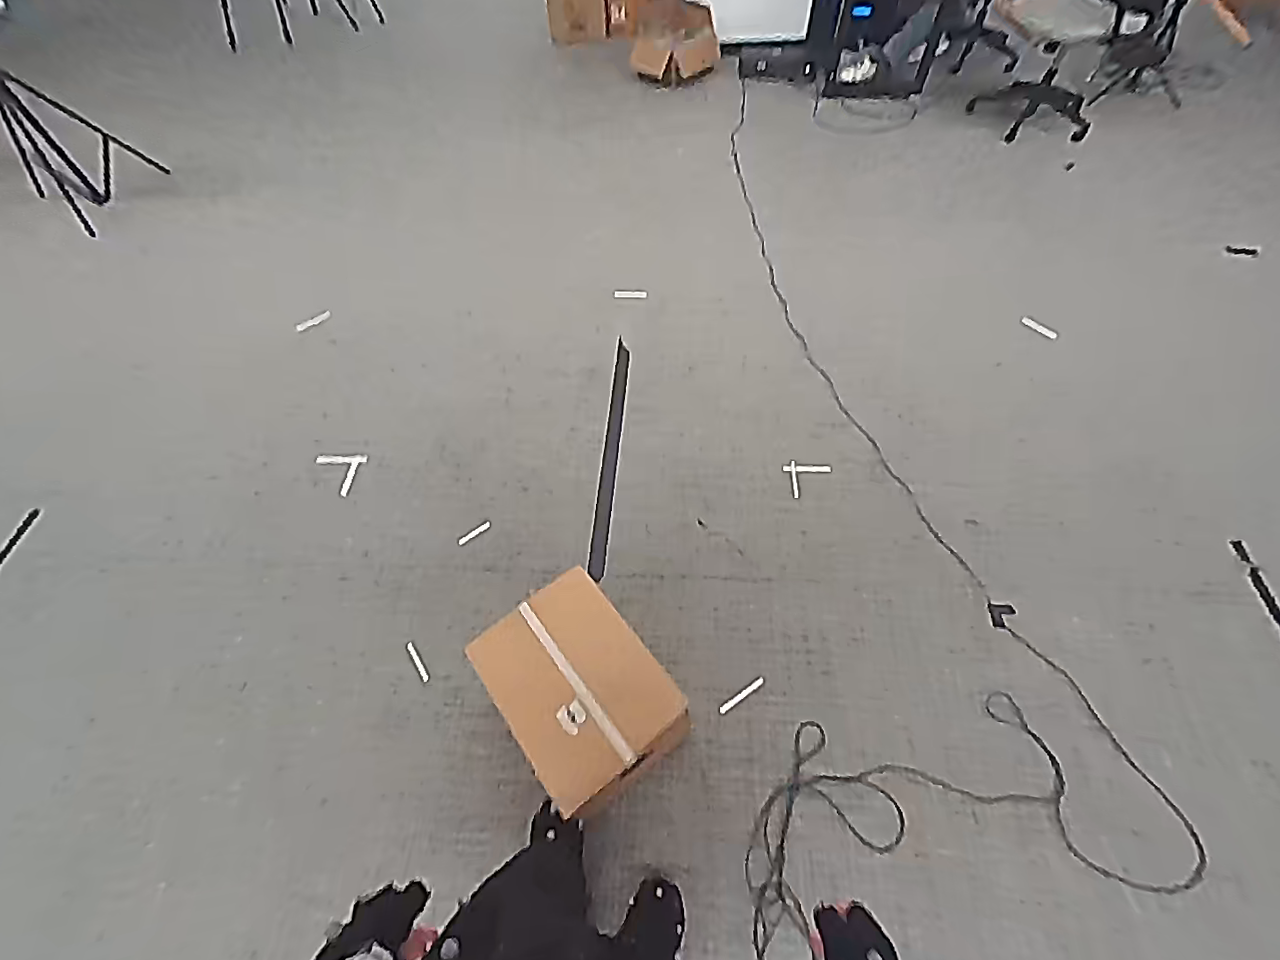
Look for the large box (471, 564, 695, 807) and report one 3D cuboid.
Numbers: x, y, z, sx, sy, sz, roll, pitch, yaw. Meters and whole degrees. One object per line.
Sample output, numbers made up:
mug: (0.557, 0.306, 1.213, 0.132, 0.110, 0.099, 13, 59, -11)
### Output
large box: (-0.121, 0.479, 1.264, 0.320, 0.320, 0.408, -37, 63, -16)
